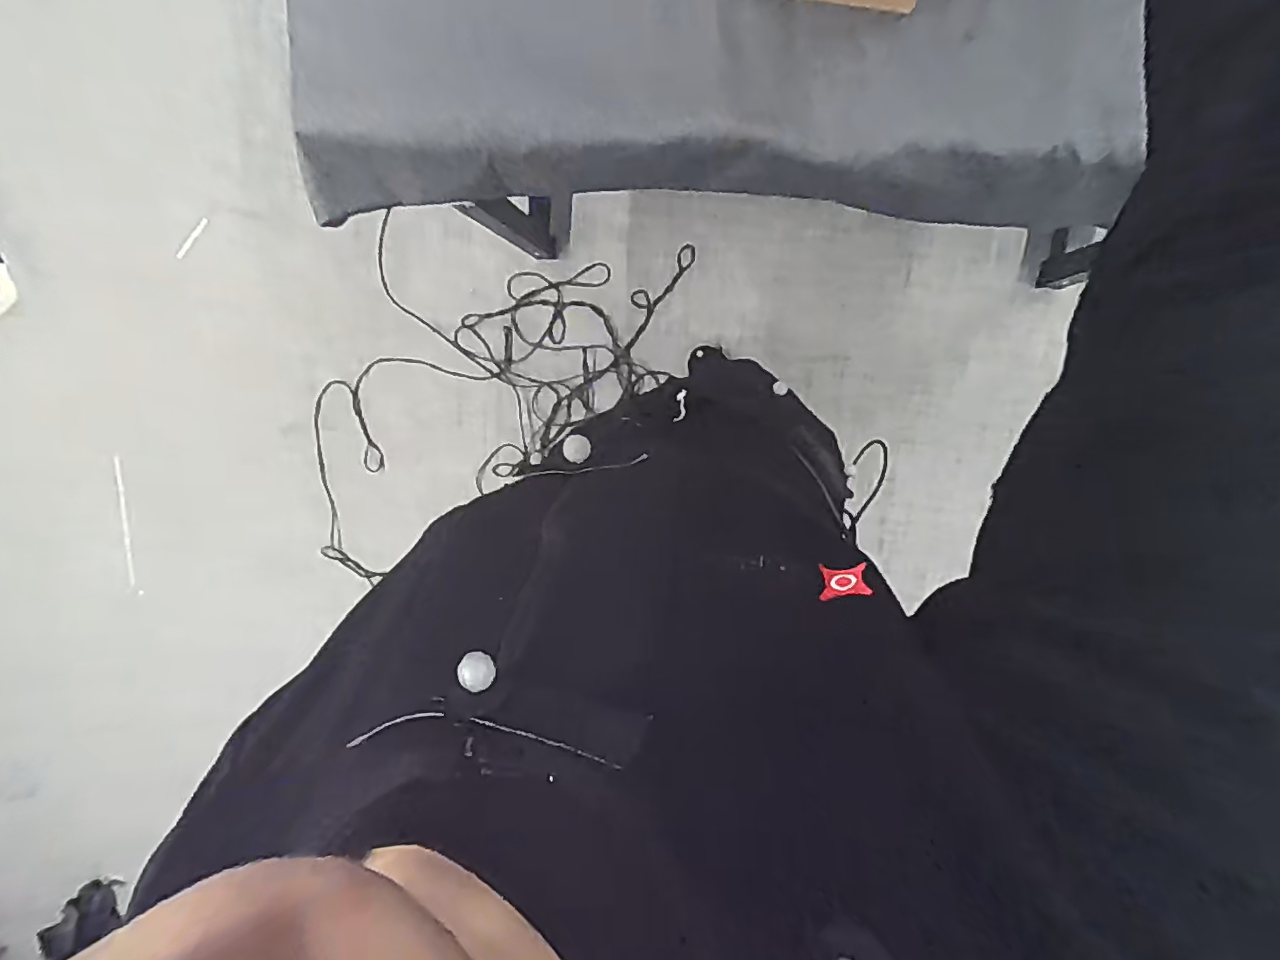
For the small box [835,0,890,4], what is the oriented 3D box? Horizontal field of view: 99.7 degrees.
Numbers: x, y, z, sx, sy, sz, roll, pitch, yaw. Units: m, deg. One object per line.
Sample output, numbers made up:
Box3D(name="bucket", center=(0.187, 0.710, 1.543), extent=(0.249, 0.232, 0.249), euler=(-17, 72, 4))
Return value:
Box3D(name="small box", center=(0.174, -0.517, 0.414), extent=(0.179, 0.176, 0.168), euler=(13, 101, 7))
